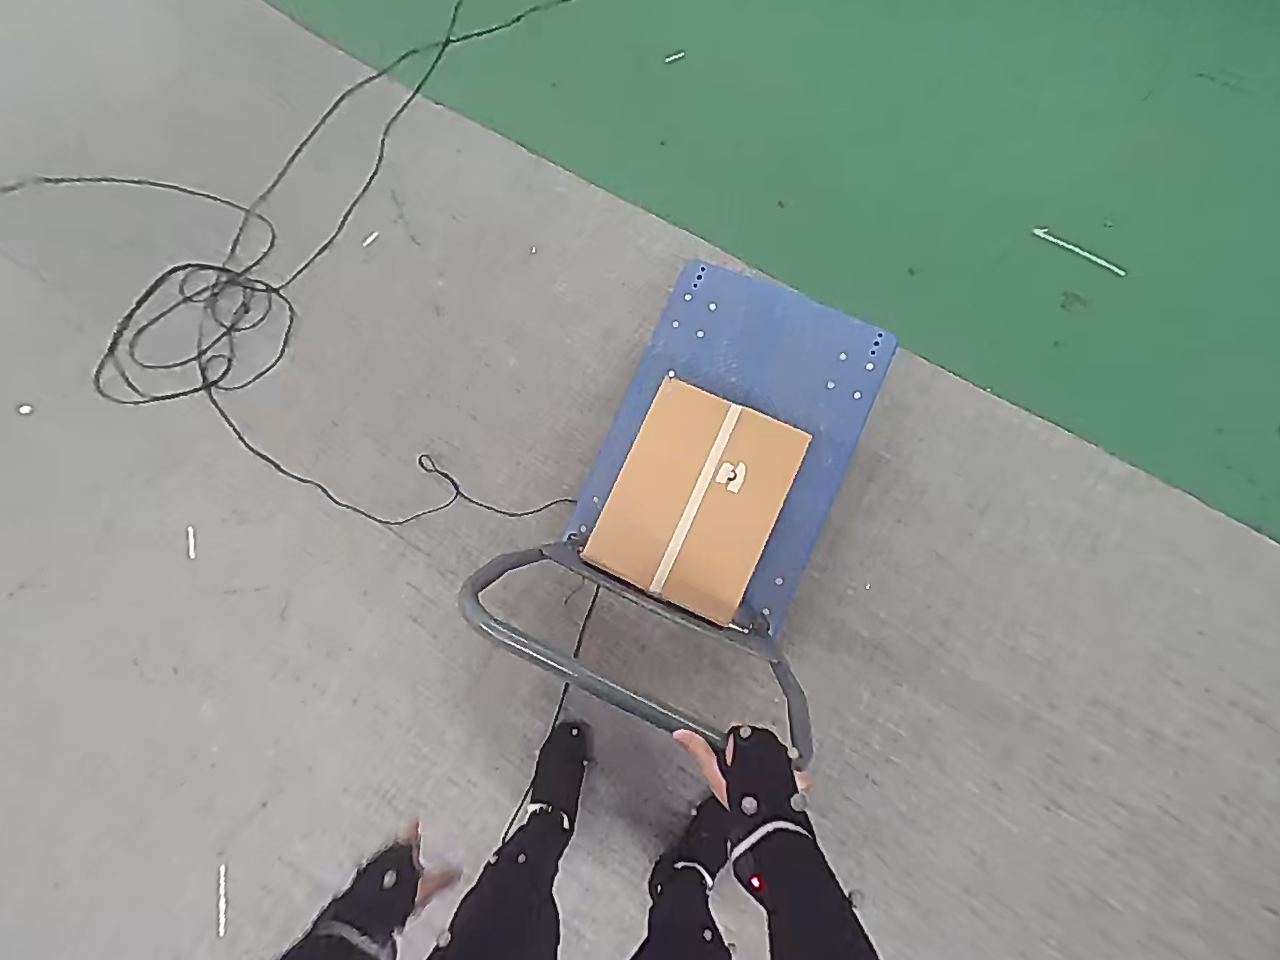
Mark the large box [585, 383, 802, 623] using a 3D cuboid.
[{"bbox_3d":[0.119,0.061,1.215,0.320,0.320,0.408,24,84,8],"label":"large box"}]
